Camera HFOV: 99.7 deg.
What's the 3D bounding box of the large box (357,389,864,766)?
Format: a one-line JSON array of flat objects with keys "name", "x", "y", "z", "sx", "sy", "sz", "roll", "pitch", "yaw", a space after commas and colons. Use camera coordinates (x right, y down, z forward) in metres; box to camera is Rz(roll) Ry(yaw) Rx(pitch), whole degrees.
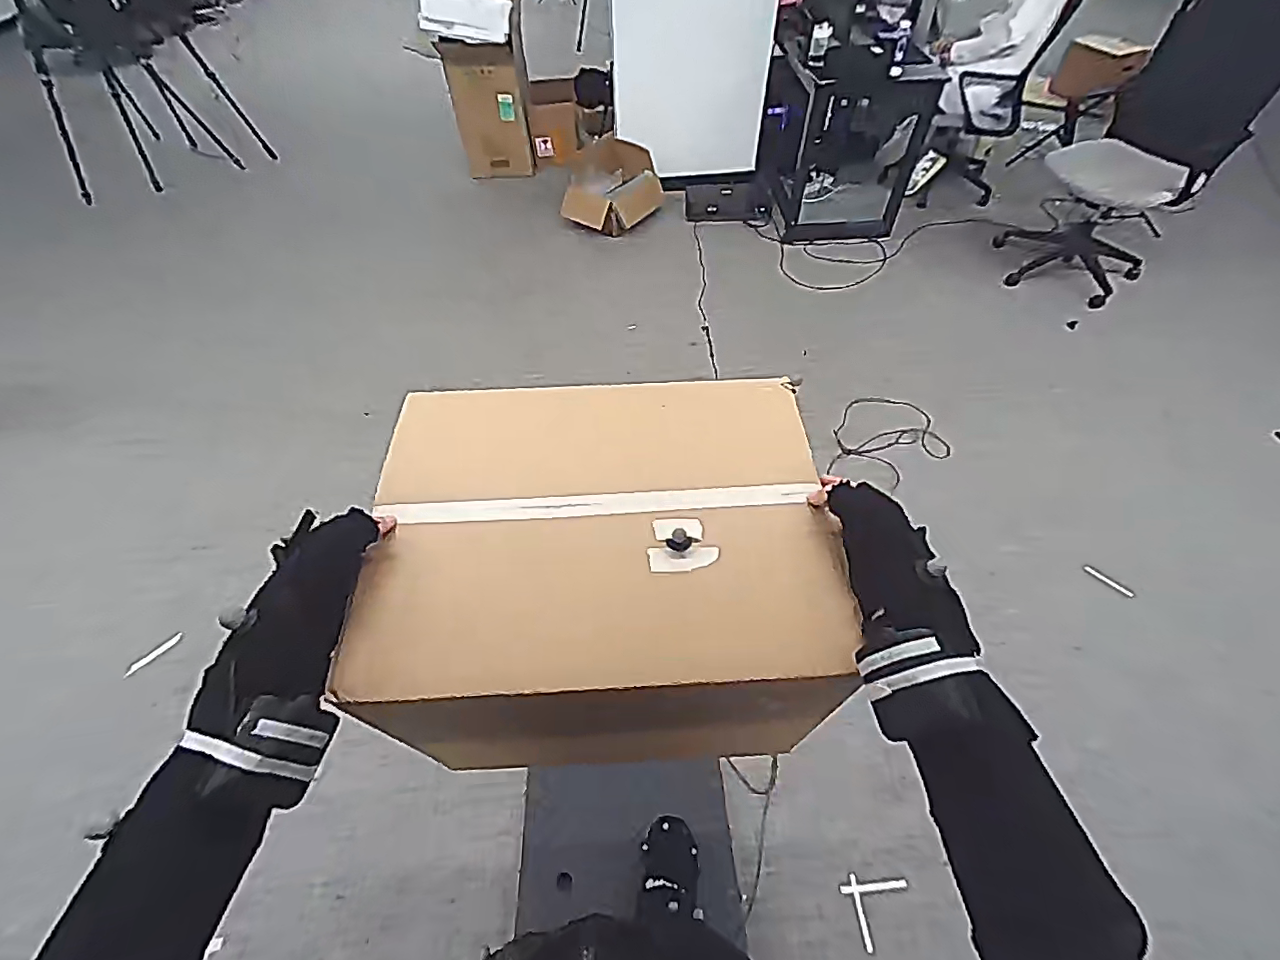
[{"name": "large box", "x": -0.029, "y": 0.120, "z": 0.623, "sx": 0.408, "sy": 0.320, "sz": 0.320, "roll": -2, "pitch": 54, "yaw": -1}]
